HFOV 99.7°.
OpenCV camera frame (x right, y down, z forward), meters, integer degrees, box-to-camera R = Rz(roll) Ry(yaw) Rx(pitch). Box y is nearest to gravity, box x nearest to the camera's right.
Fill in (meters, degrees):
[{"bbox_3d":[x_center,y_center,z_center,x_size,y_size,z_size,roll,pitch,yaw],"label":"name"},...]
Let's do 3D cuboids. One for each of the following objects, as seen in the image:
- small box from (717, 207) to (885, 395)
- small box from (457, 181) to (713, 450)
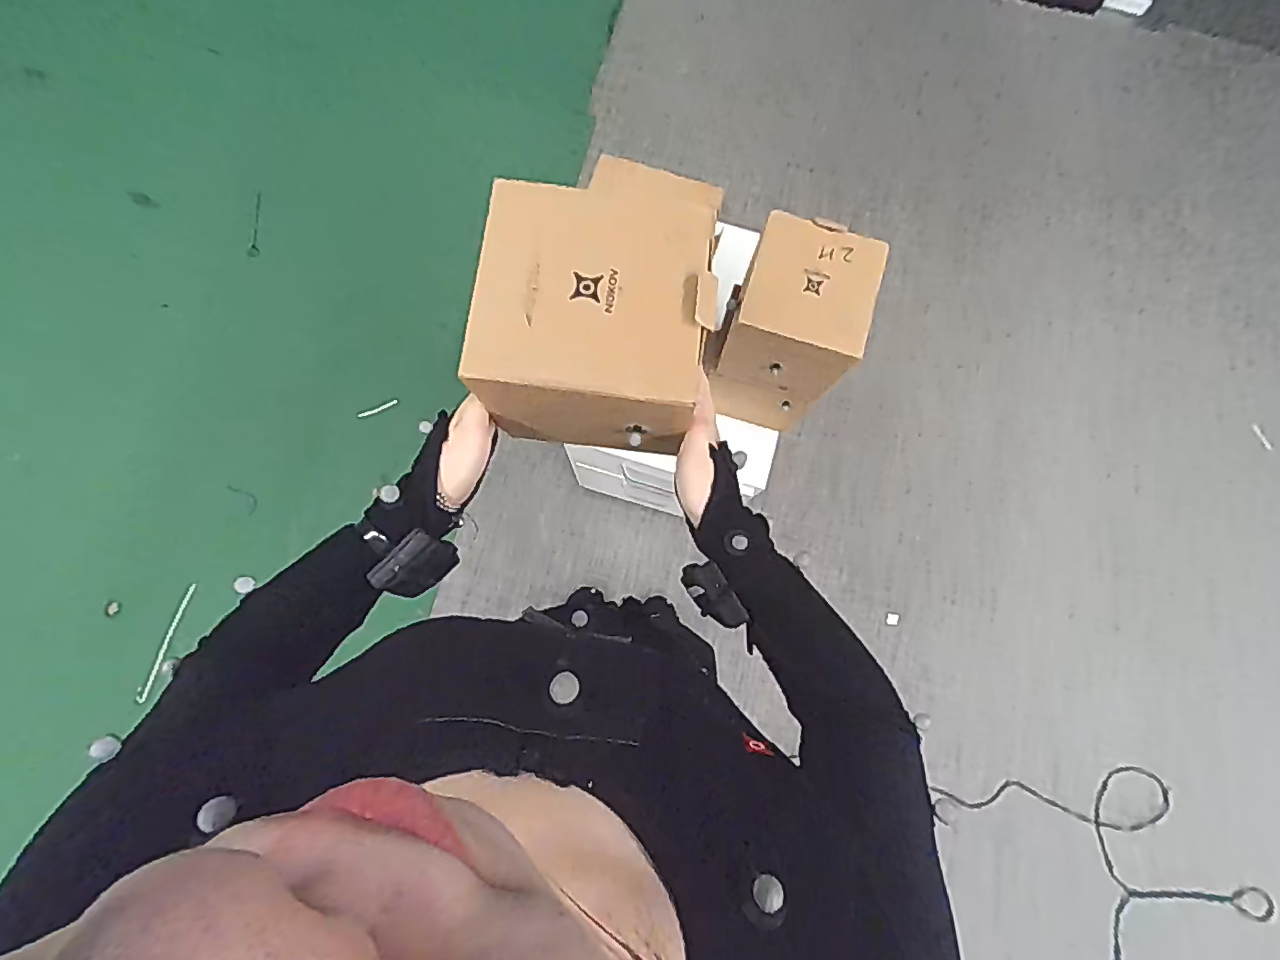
[{"bbox_3d":[0.218,-0.244,0.778,0.168,0.176,0.179,18,78,0],"label":"small box"},{"bbox_3d":[-0.039,-0.129,0.485,0.179,0.176,0.168,6,79,1],"label":"small box"}]
